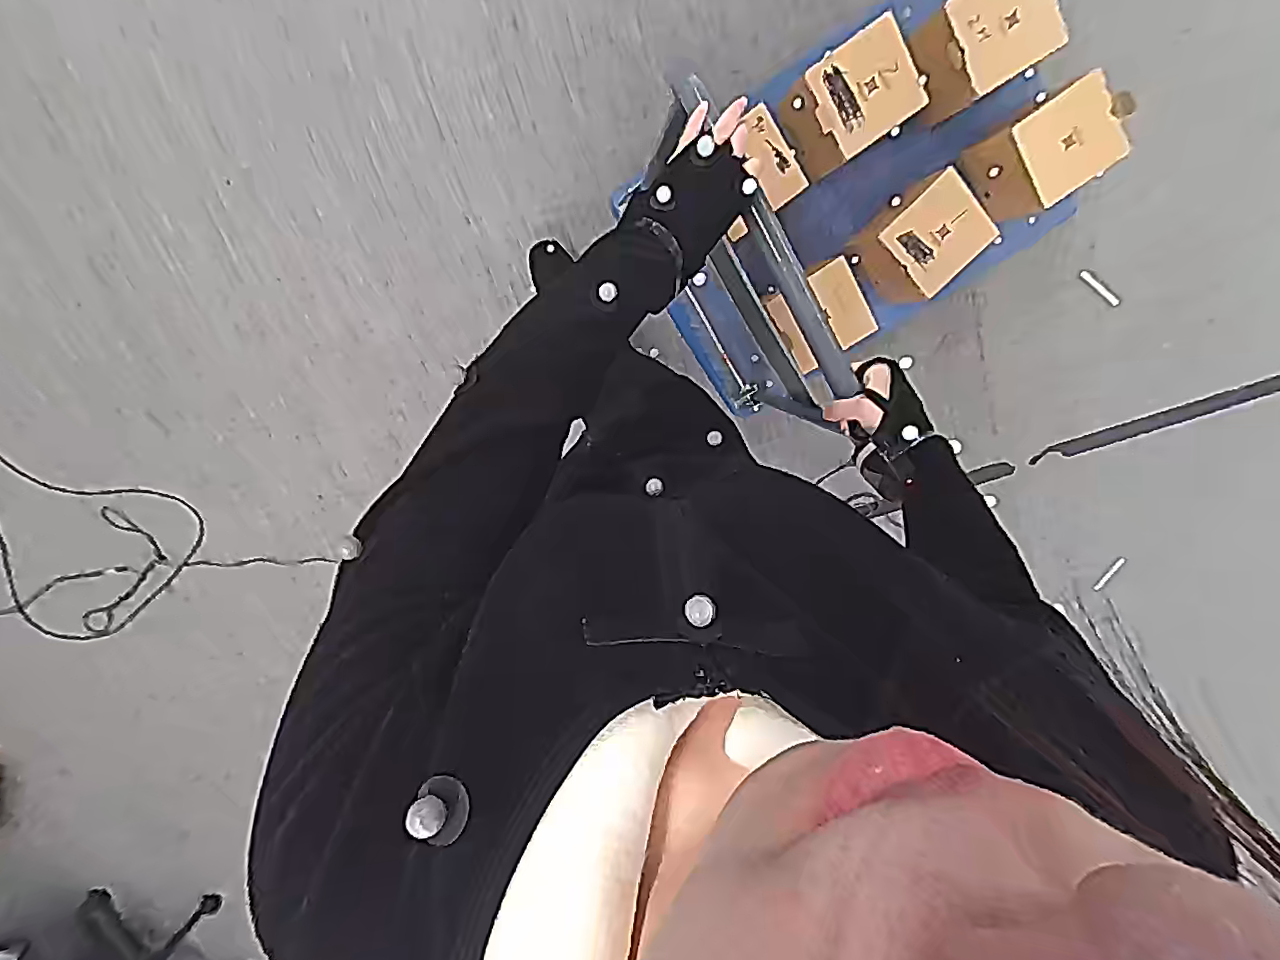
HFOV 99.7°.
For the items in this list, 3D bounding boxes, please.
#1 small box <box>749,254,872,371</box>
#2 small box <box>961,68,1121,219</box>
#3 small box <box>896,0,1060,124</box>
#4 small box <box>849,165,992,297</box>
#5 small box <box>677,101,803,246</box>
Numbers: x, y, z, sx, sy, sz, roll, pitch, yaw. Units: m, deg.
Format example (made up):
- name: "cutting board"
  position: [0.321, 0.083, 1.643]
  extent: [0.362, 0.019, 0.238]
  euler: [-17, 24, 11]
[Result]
- name: "small box"
  position: [0.349, -0.351, 1.148]
  extent: [0.179, 0.176, 0.168]
  euler: [-31, 106, 6]
- name: "small box"
  position: [0.780, -0.652, 1.077]
  extent: [0.179, 0.176, 0.168]
  euler: [-35, 105, 8]
- name: "small box"
  position: [0.625, -0.818, 1.017]
  extent: [0.179, 0.176, 0.168]
  euler: [-30, 106, 7]
- name: "small box"
  position: [0.559, -0.496, 1.113]
  extent: [0.179, 0.176, 0.168]
  euler: [-44, 104, 9]
- name: "small box"
  position: [0.186, -0.587, 1.067]
  extent: [0.179, 0.176, 0.168]
  euler: [-35, 106, 8]
